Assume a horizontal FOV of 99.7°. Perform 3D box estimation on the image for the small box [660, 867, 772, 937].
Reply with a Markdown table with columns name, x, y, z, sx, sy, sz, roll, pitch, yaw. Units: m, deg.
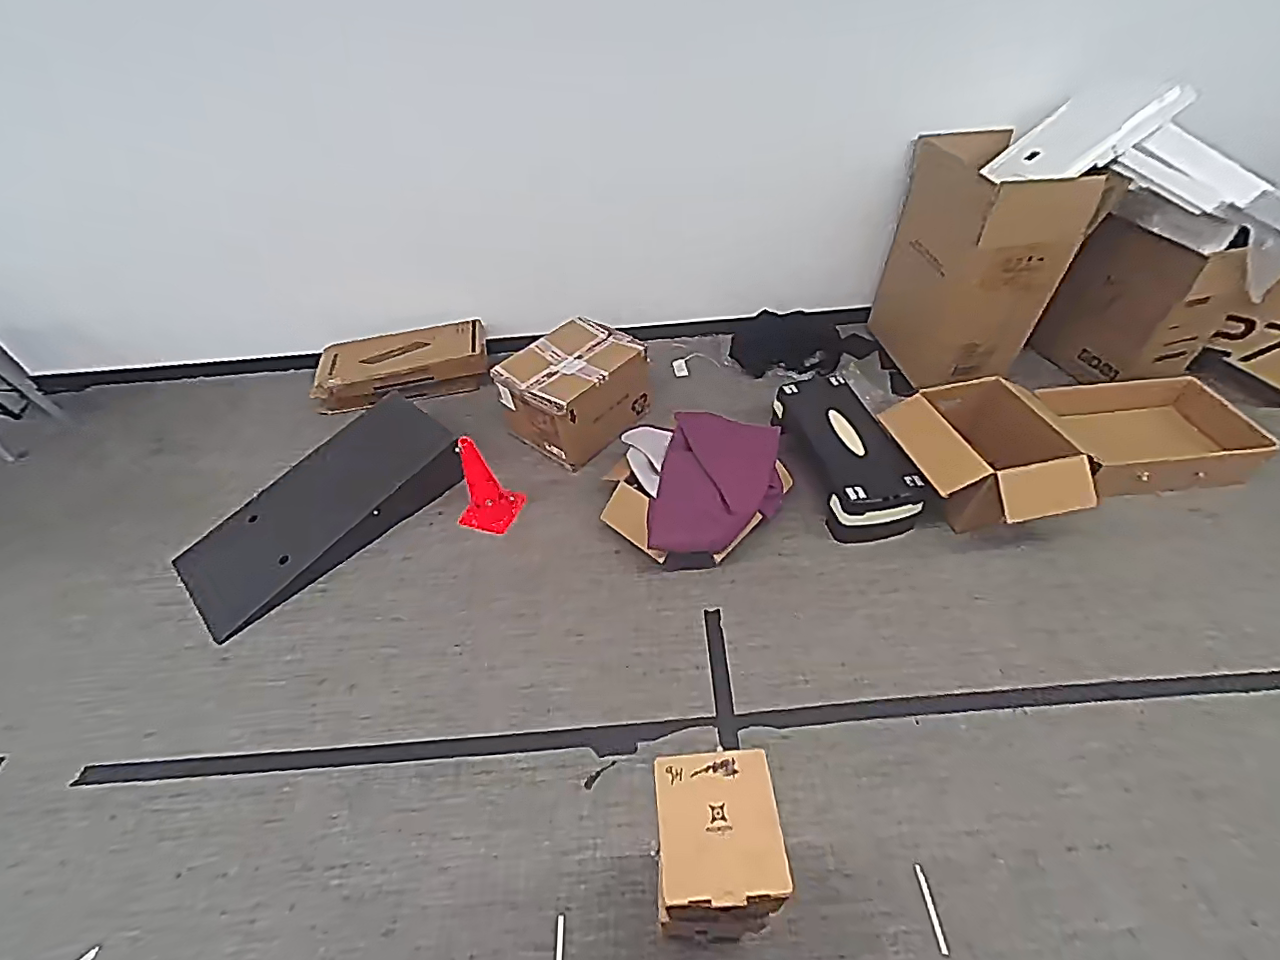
| name | x | y | z | sx | sy | sz | roll | pitch | yaw |
| --- | --- | --- | --- | --- | --- | --- | --- | --- | --- |
| small box | 0.117 | 0.641 | 0.901 | 0.168 | 0.176 | 0.179 | -2 | 48 | 4 |

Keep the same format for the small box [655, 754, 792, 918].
| name | x | y | z | sx | sy | sz | roll | pitch | yaw |
| --- | --- | --- | --- | --- | --- | --- | --- | --- | --- |
| small box | 0.113 | 0.522 | 0.788 | 0.168 | 0.176 | 0.179 | -5 | 47 | 1 |

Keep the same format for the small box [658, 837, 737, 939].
| name | x | y | z | sx | sy | sz | roll | pitch | yaw |
| --- | --- | --- | --- | --- | --- | --- | --- | --- | --- |
| small box | 0.129 | 0.860 | 1.144 | 0.179 | 0.176 | 0.168 | -1 | 47 | 3 |
